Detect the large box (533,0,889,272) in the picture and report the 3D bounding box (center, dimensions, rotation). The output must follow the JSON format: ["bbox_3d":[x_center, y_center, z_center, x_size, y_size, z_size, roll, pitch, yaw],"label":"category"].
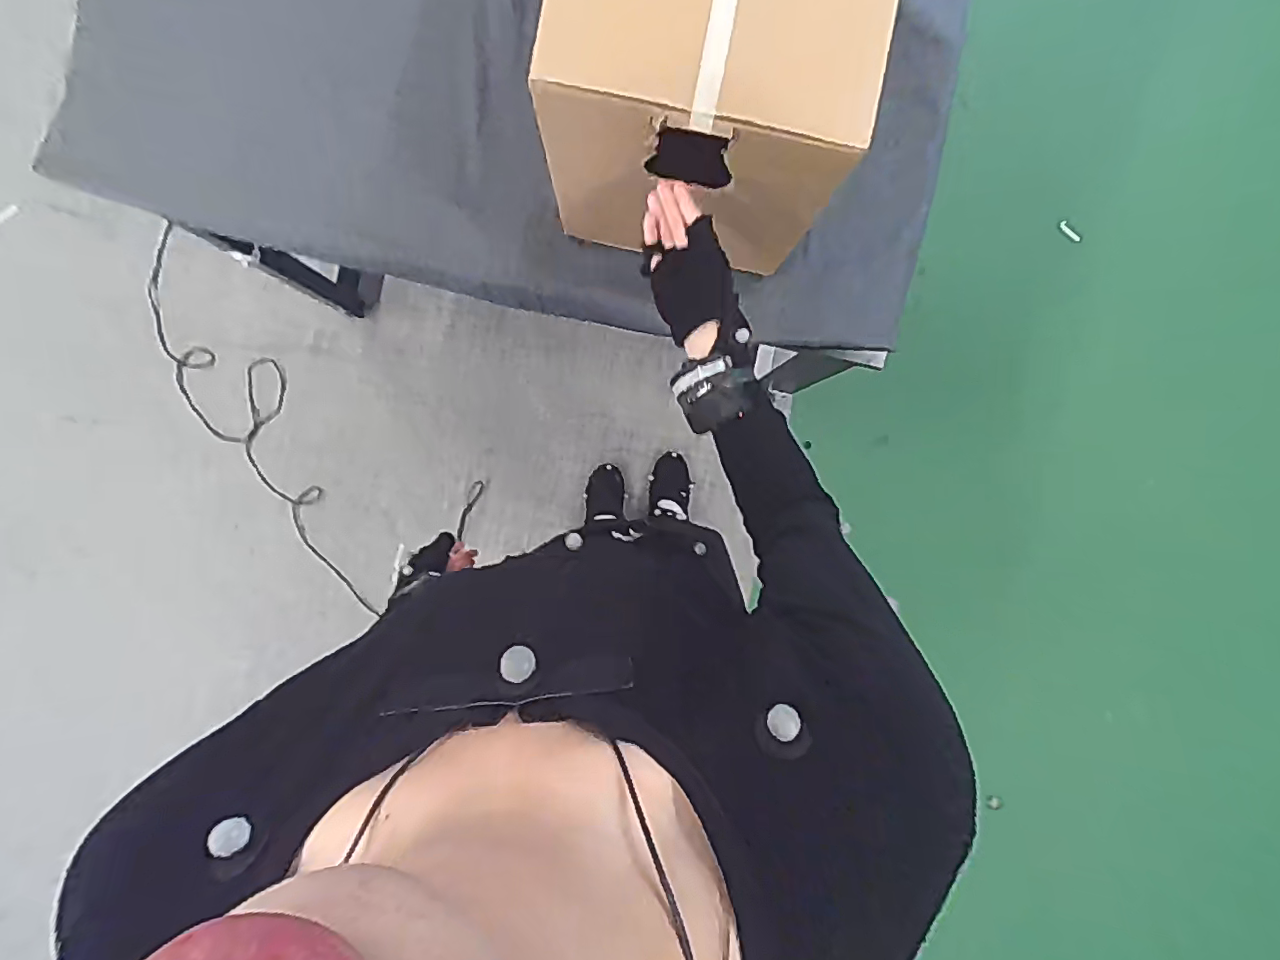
[{"bbox_3d":[0.082,-0.517,0.635,0.320,0.320,0.408,10,89,-2],"label":"large box"}]
